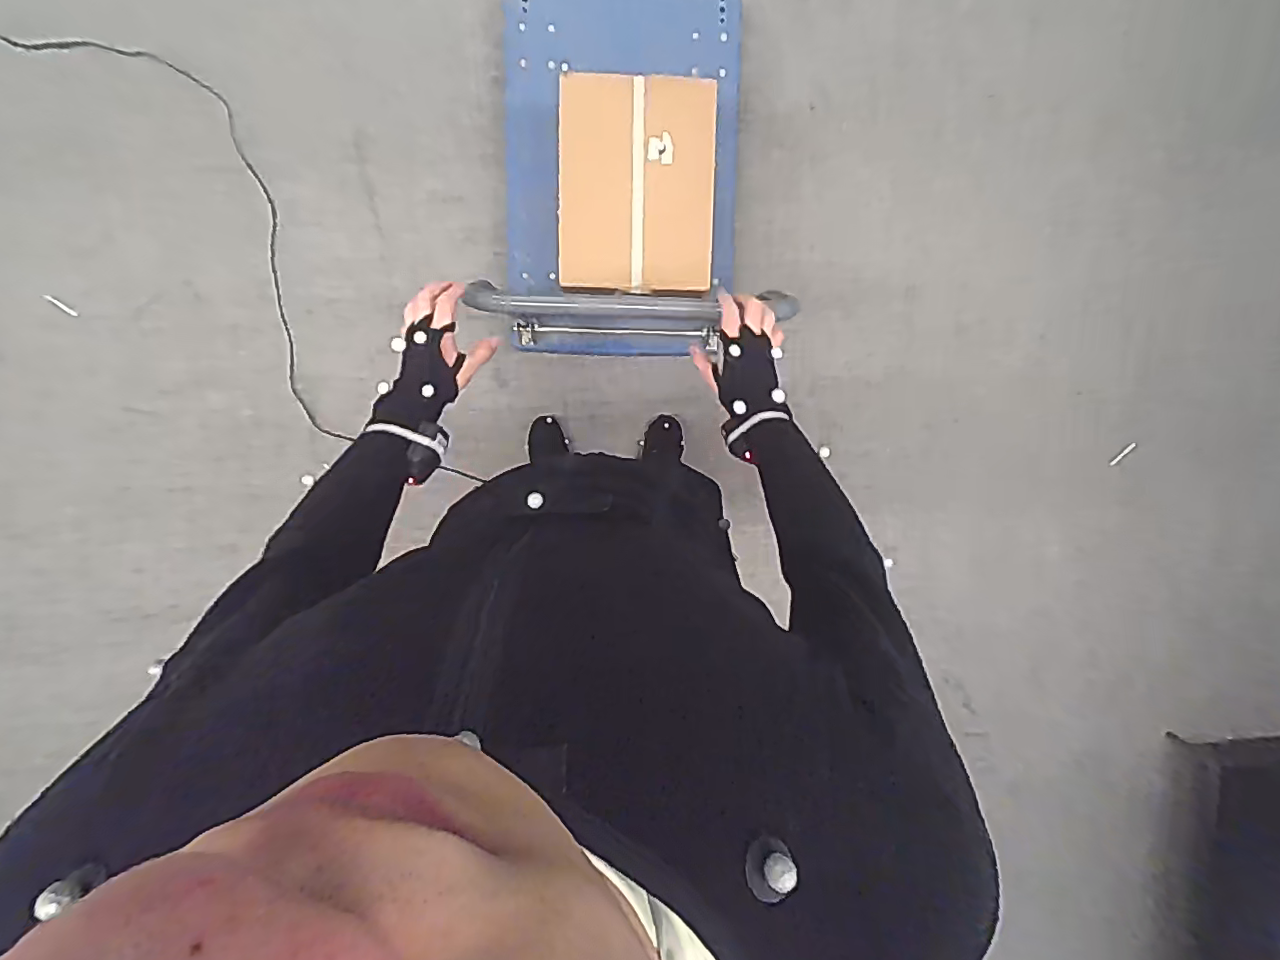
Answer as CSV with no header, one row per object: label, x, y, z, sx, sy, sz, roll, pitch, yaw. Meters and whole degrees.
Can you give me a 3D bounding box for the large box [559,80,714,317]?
large box,-0.013,-0.602,1.234,0.320,0.320,0.408,0,96,-4
